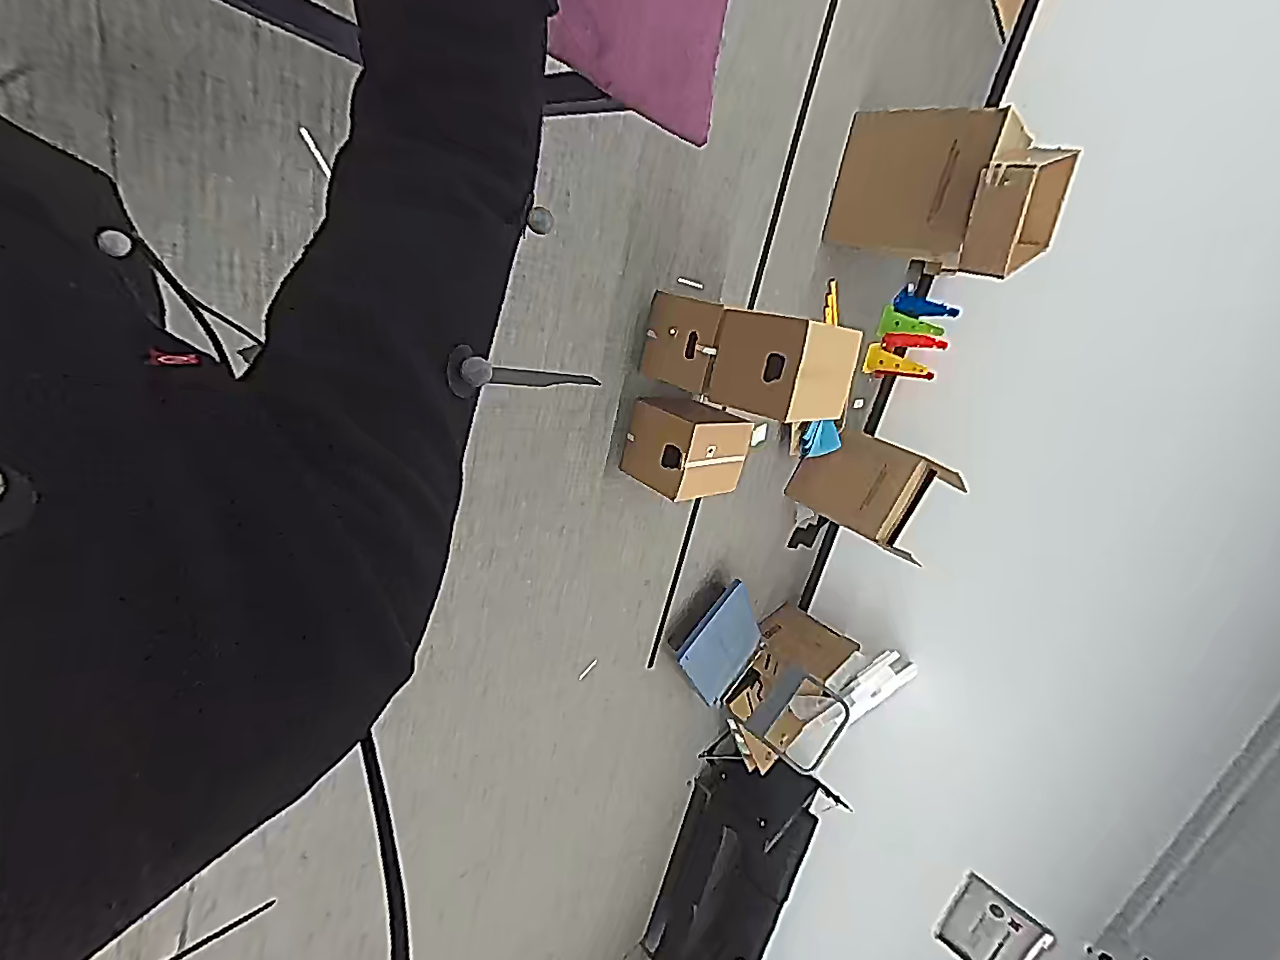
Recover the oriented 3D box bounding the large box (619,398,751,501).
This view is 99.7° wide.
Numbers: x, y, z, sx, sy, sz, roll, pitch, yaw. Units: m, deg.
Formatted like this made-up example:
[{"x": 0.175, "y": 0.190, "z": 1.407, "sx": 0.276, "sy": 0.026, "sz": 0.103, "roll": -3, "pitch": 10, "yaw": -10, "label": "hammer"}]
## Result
[{"x": 0.181, "y": -0.139, "z": 2.192, "sx": 0.408, "sy": 0.320, "sz": 0.320, "roll": -8, "pitch": 118, "yaw": -46, "label": "large box"}]
